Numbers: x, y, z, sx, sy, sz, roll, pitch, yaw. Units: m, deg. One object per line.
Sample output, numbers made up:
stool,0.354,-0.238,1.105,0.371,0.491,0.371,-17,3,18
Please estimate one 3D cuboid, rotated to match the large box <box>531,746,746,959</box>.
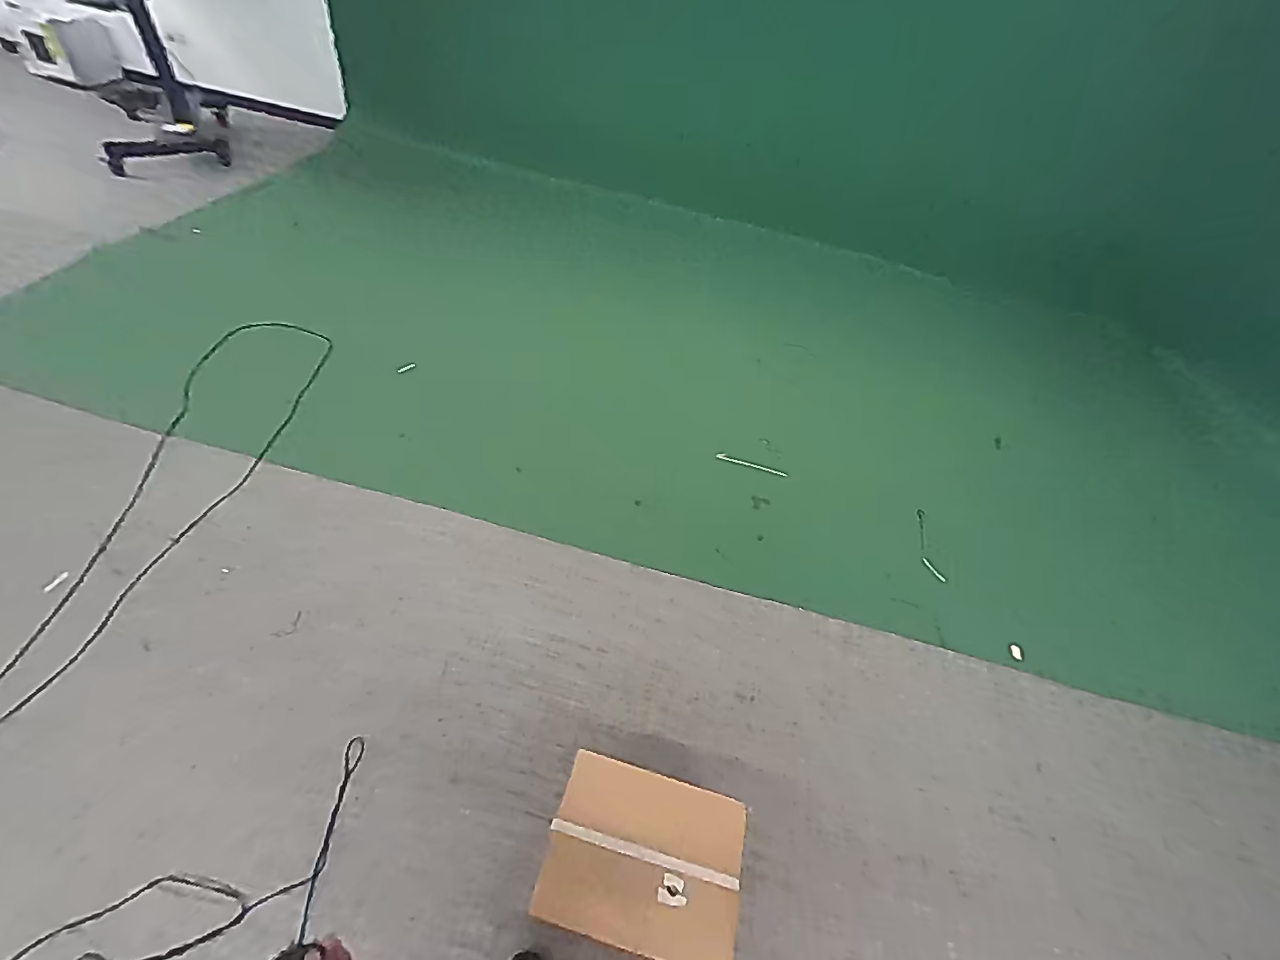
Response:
large box,-0.009,0.868,1.239,0.408,0.320,0.320,17,48,3
